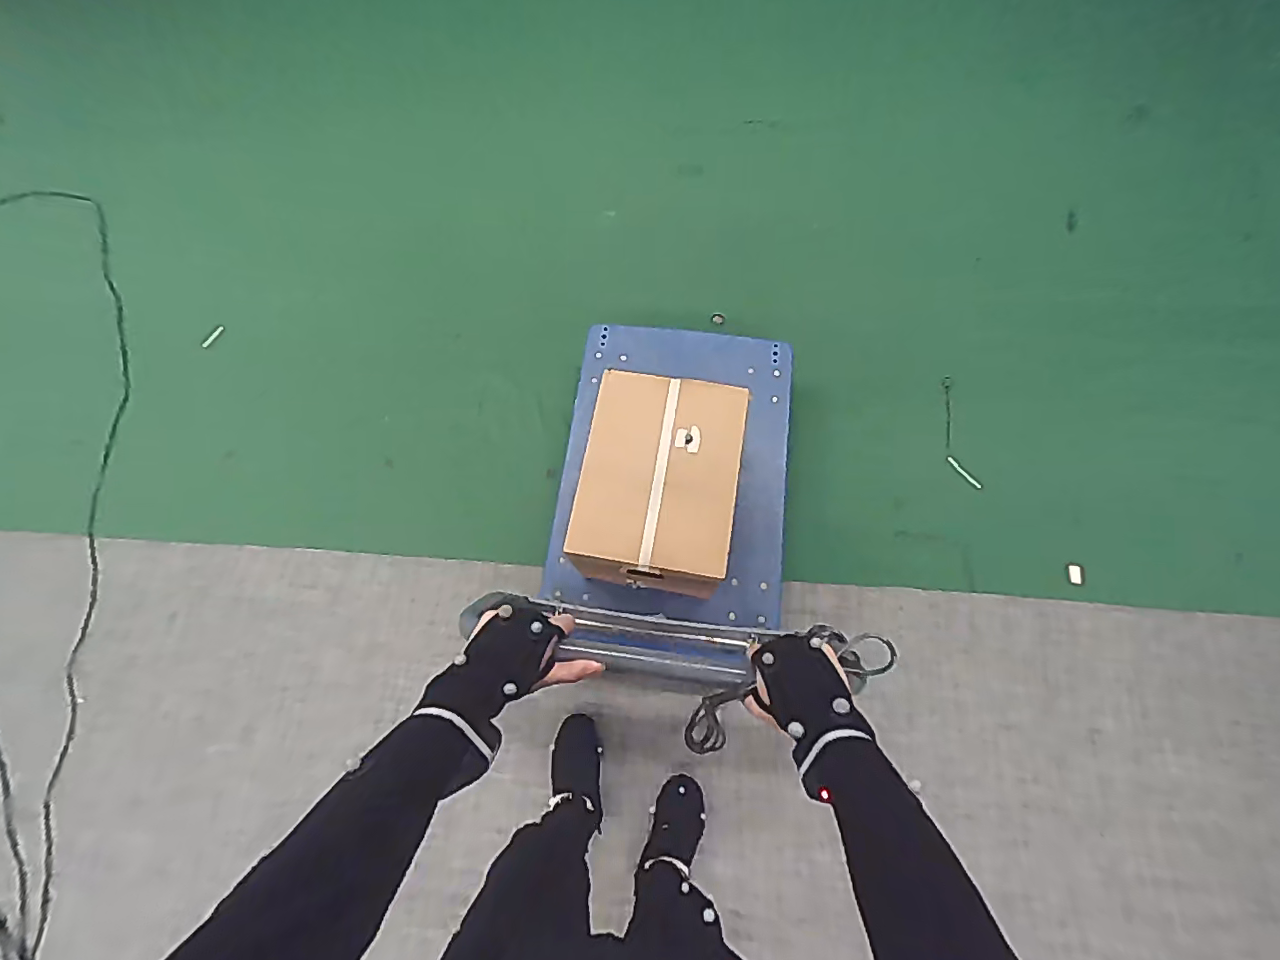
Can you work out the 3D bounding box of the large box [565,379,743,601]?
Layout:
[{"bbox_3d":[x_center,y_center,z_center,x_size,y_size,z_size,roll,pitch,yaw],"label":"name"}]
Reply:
[{"bbox_3d":[0.041,0.038,1.223,0.320,0.320,0.408,9,71,4],"label":"large box"}]
